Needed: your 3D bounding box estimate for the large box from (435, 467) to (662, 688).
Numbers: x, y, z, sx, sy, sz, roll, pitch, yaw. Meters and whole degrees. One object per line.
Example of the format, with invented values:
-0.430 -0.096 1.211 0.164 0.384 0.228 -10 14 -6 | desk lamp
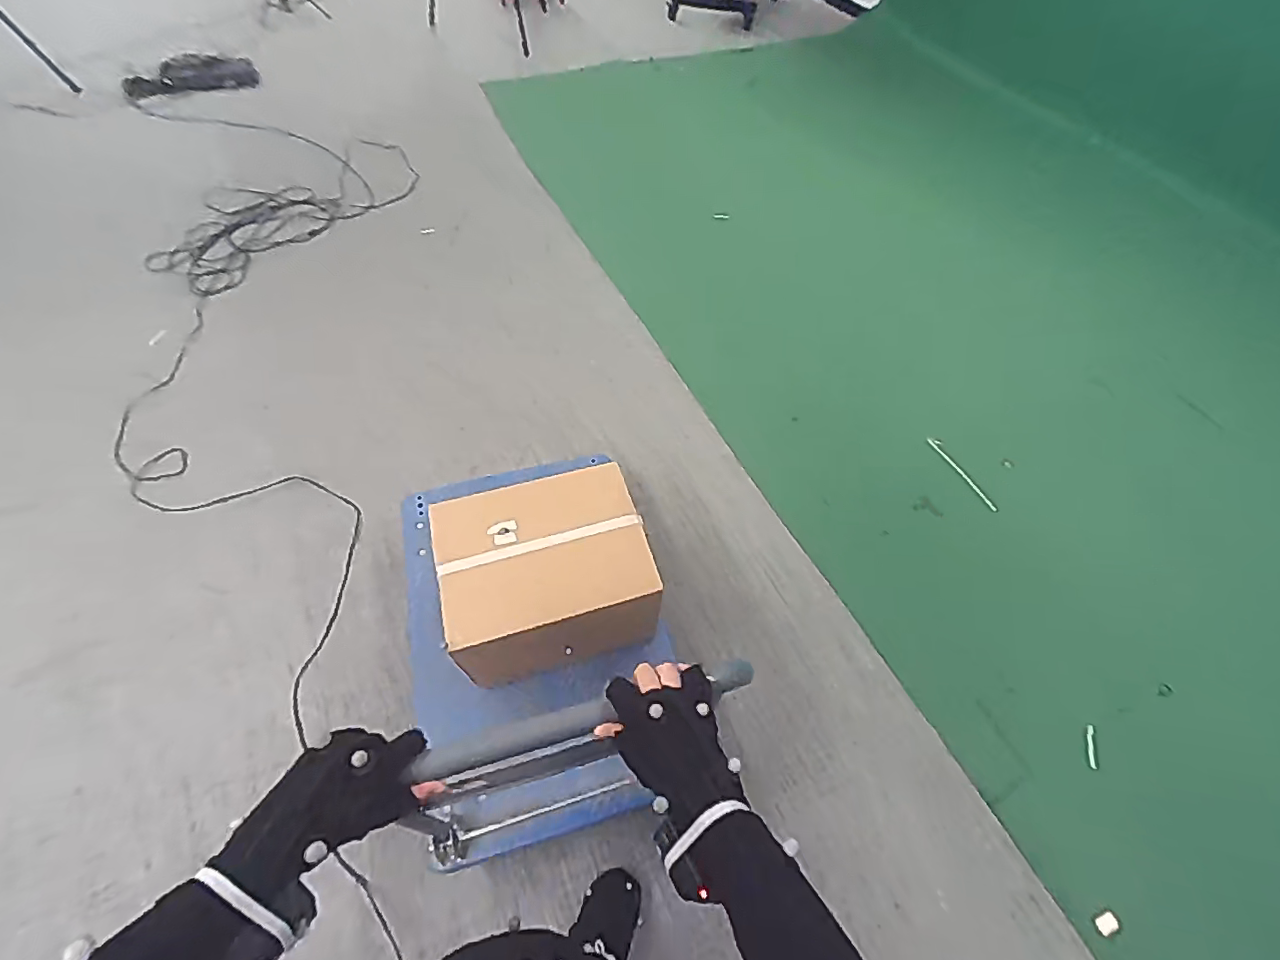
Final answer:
-0.193 0.222 1.202 0.408 0.320 0.320 -15 58 -11 | large box
